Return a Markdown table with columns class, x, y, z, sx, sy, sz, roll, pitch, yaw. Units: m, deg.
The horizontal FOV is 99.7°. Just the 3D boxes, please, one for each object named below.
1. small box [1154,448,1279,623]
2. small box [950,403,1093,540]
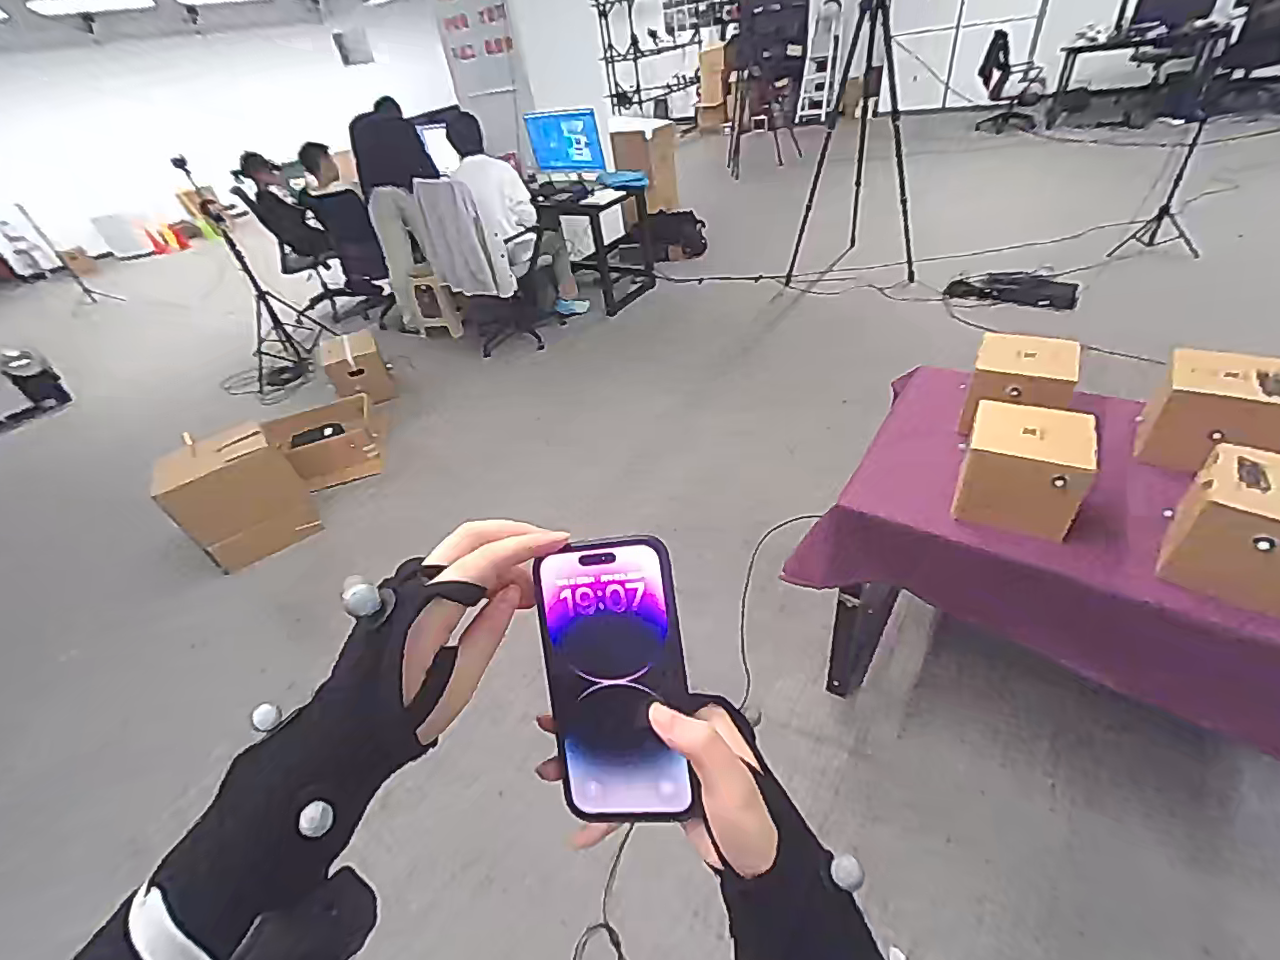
| class | x | y | z | sx | sy | sz | roll | pitch | yaw |
| --- | --- | --- | --- | --- | --- | --- | --- | --- | --- |
| small box | 0.928 | 0.083 | 0.812 | 0.179 | 0.176 | 0.168 | 26 | 51 | 35 |
| small box | 0.685 | -0.016 | 0.985 | 0.179 | 0.176 | 0.168 | 16 | 45 | 27 |
